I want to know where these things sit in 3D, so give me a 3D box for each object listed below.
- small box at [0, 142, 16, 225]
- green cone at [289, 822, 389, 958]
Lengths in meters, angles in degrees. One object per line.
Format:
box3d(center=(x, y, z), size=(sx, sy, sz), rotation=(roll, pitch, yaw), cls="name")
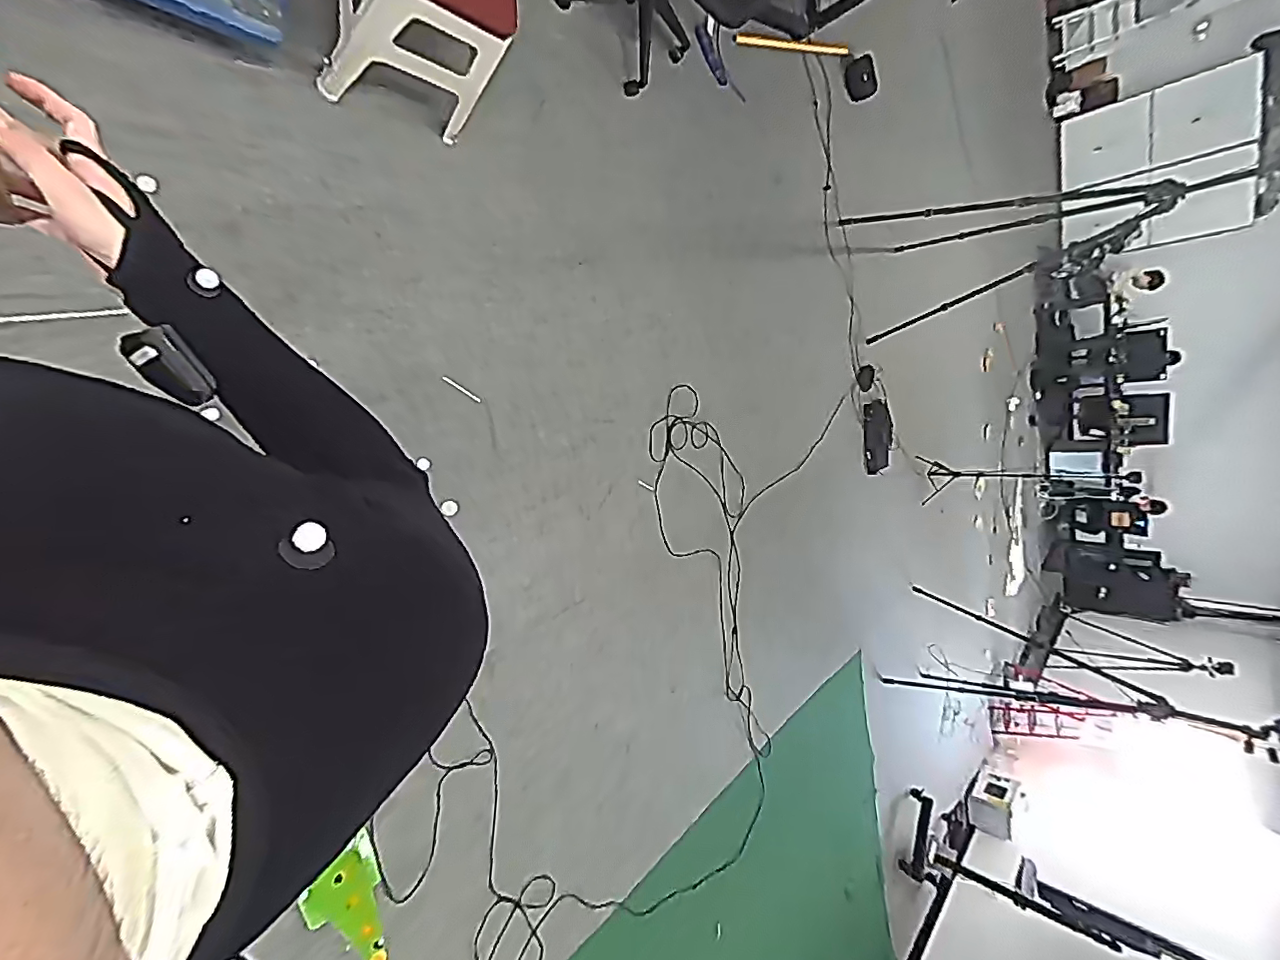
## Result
box3d(center=(-0.530, -0.275, 0.326), size=(0.168, 0.176, 0.179), rotation=(-15, 104, -41), cls="small box")
box3d(center=(-0.748, 1.122, 1.420), size=(0.202, 0.368, 0.200), rotation=(-23, 108, -41), cls="green cone")
